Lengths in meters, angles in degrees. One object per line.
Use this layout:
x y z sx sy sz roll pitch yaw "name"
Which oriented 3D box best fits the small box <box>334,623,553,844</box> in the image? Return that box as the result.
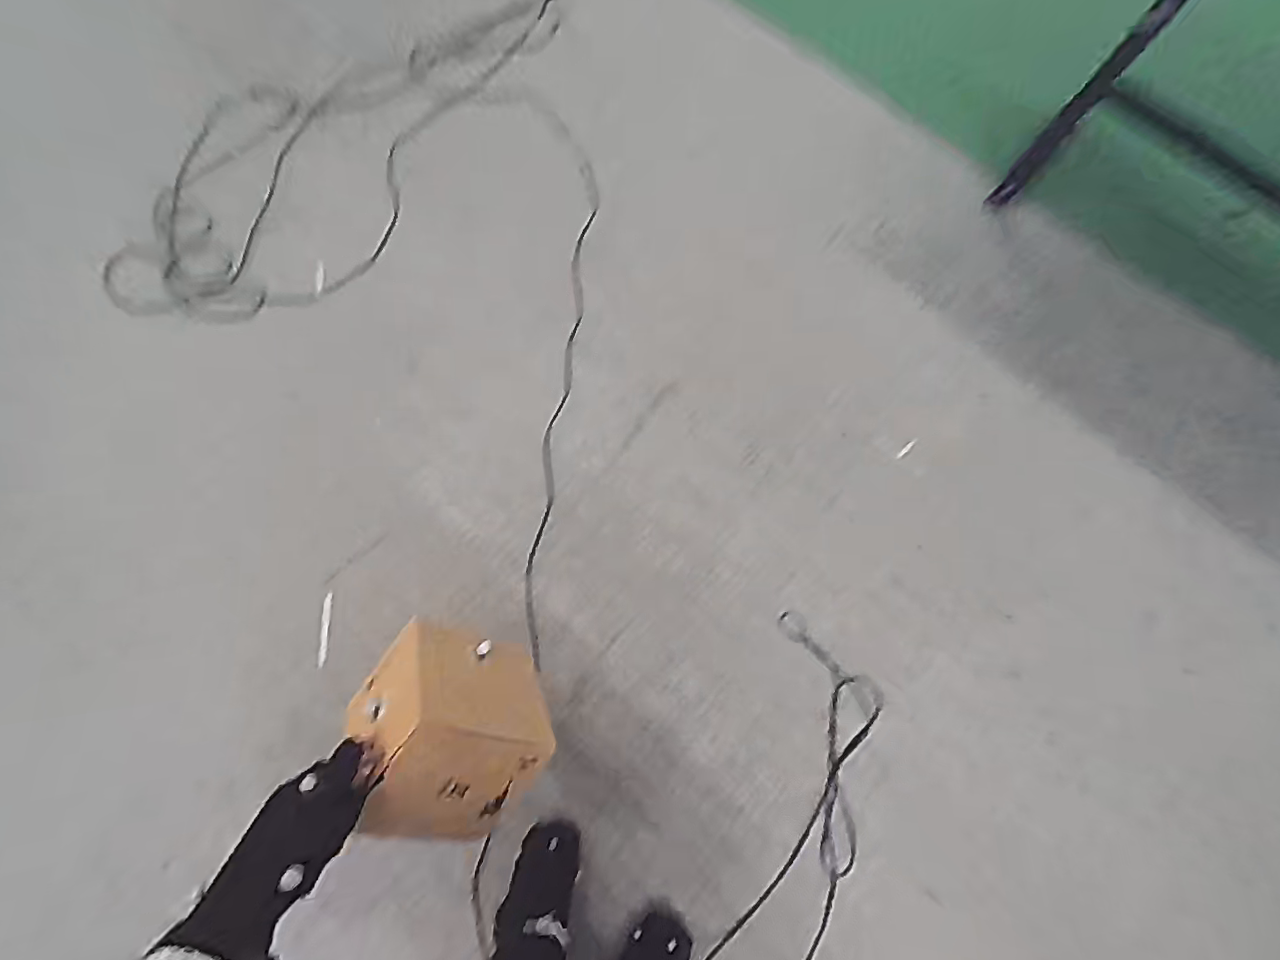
-0.238 0.302 0.659 0.179 0.176 0.168 30 102 -33 "small box"
